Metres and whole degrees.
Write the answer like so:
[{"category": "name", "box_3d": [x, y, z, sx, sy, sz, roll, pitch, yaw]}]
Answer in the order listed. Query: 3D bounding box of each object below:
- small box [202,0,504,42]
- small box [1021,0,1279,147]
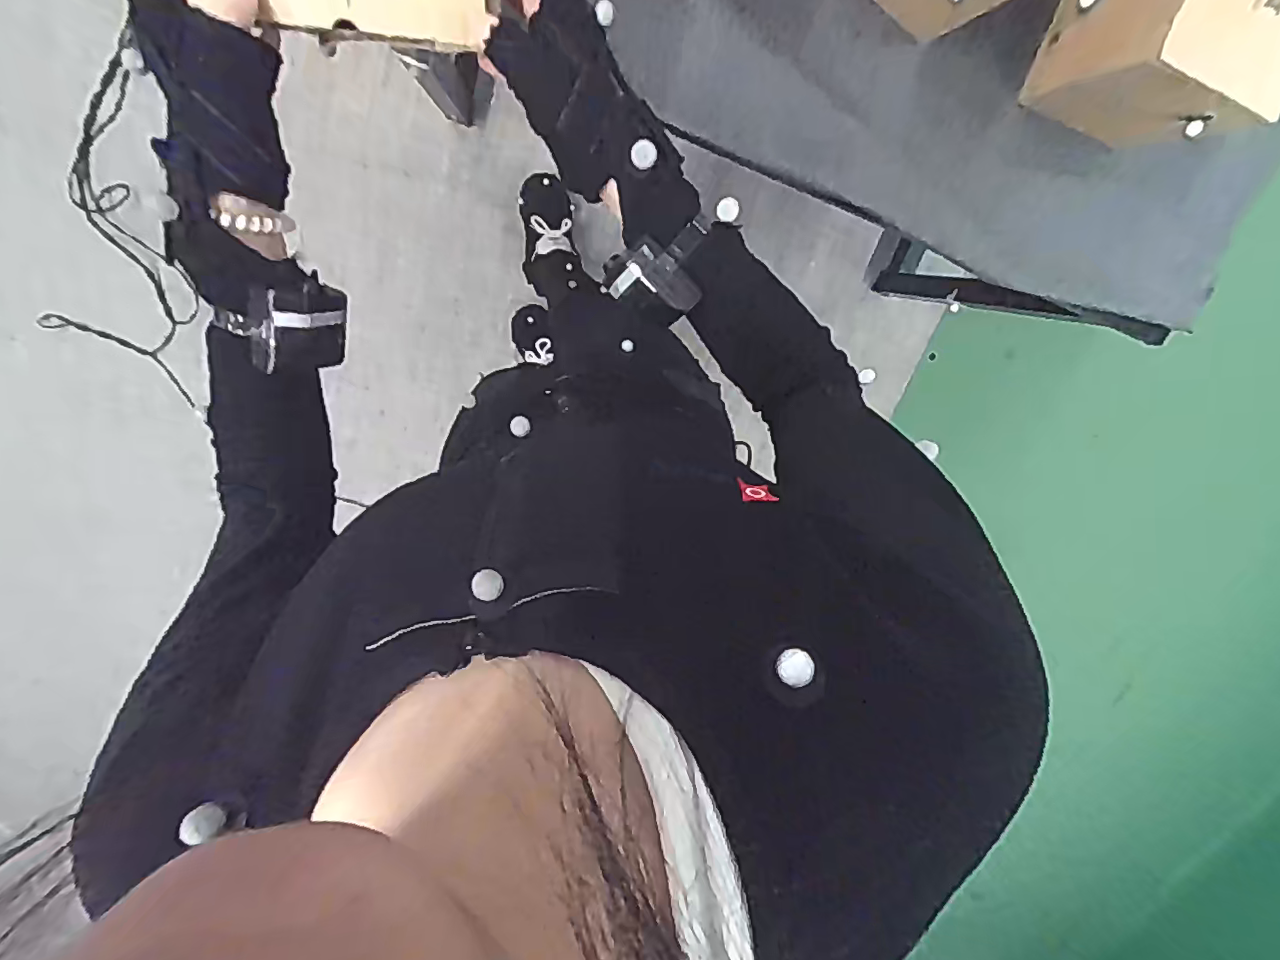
[{"category": "small box", "box_3d": [-0.174, -0.386, 0.328, 0.168, 0.176, 0.179, -1, 127, -10]}, {"category": "small box", "box_3d": [0.573, -0.480, 0.579, 0.179, 0.176, 0.168, 12, 110, -15]}]
